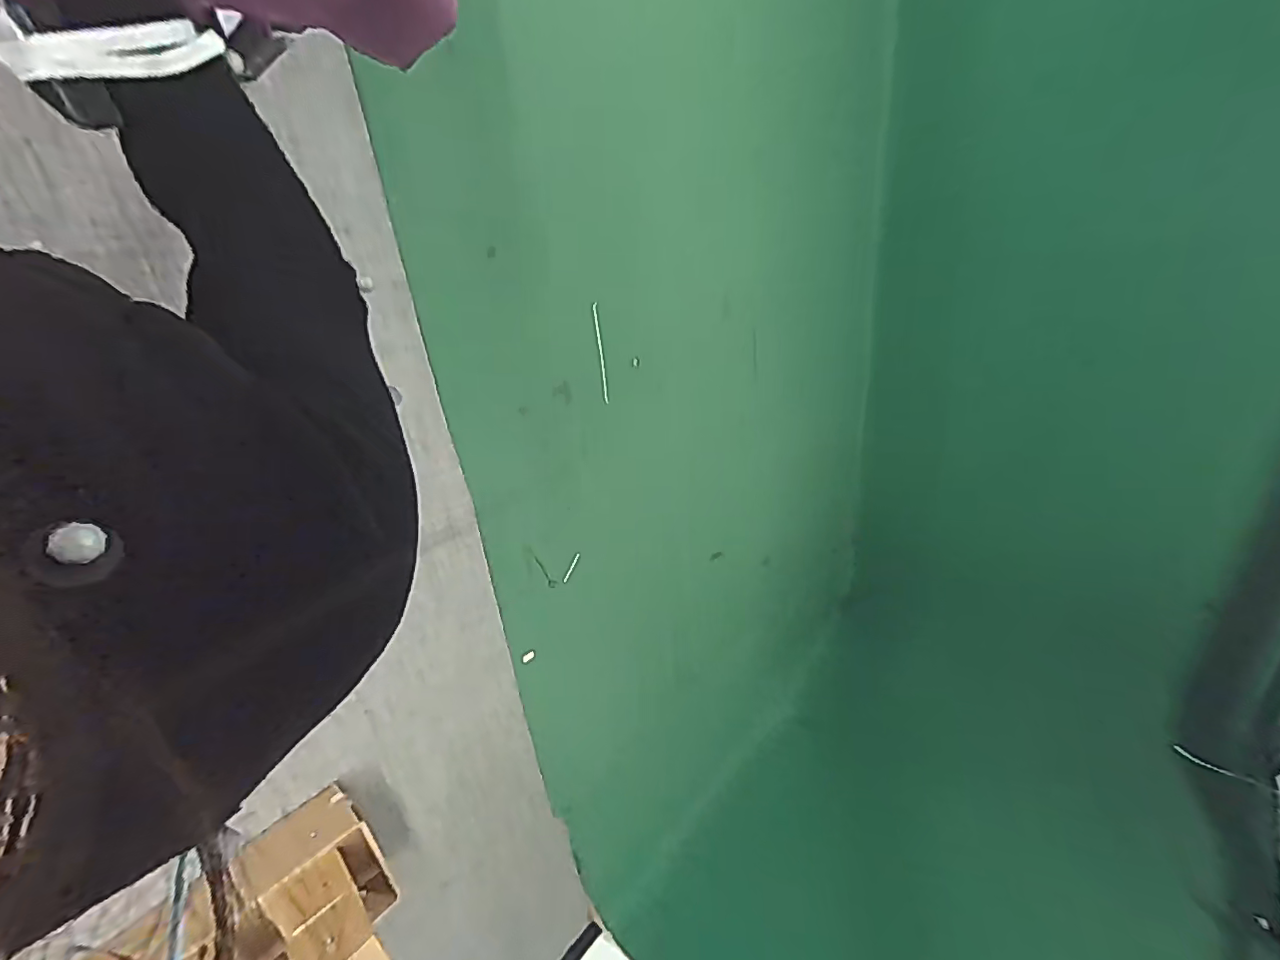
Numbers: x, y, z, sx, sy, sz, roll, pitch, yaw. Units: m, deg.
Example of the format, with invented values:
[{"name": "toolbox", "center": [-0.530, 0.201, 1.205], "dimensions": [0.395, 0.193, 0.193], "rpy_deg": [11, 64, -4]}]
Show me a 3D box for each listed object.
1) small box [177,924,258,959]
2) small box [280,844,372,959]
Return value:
[{"name": "small box", "center": [-1.101, 1.312, 1.399], "dimensions": [0.168, 0.176, 0.179], "rpy_deg": [-29, 123, -38]}, {"name": "small box", "center": [-0.914, 1.209, 1.572], "dimensions": [0.168, 0.176, 0.179], "rpy_deg": [-24, 121, -40]}]
